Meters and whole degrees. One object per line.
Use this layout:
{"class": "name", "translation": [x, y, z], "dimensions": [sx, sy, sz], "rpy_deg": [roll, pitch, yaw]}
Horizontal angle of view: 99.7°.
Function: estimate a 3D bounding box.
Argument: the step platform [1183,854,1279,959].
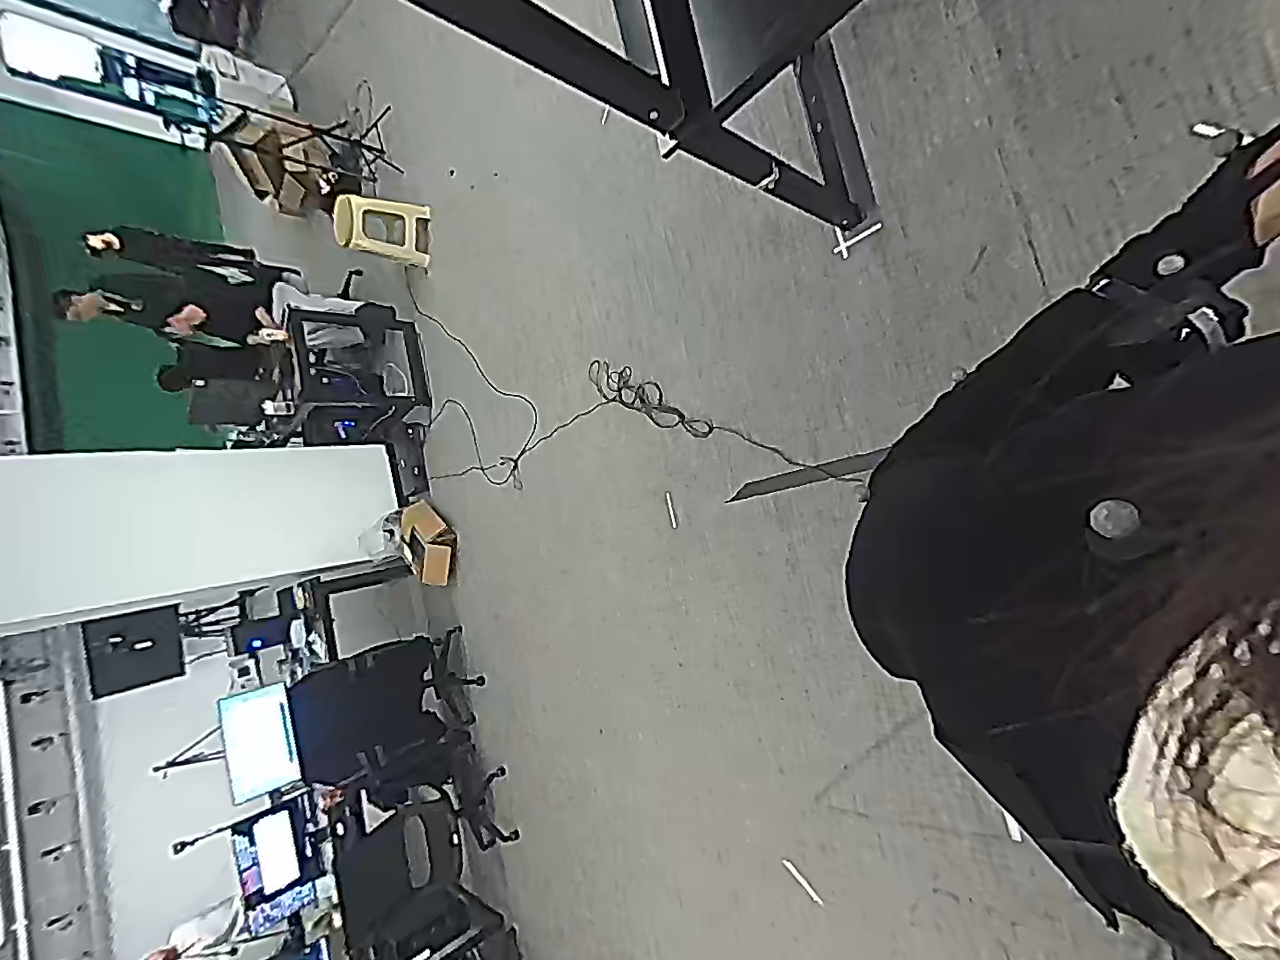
{"class": "step platform", "translation": [1.291, 0.861, 0.799], "dimensions": [0.684, 0.204, 0.286], "rpy_deg": [-10, 88, 45]}
